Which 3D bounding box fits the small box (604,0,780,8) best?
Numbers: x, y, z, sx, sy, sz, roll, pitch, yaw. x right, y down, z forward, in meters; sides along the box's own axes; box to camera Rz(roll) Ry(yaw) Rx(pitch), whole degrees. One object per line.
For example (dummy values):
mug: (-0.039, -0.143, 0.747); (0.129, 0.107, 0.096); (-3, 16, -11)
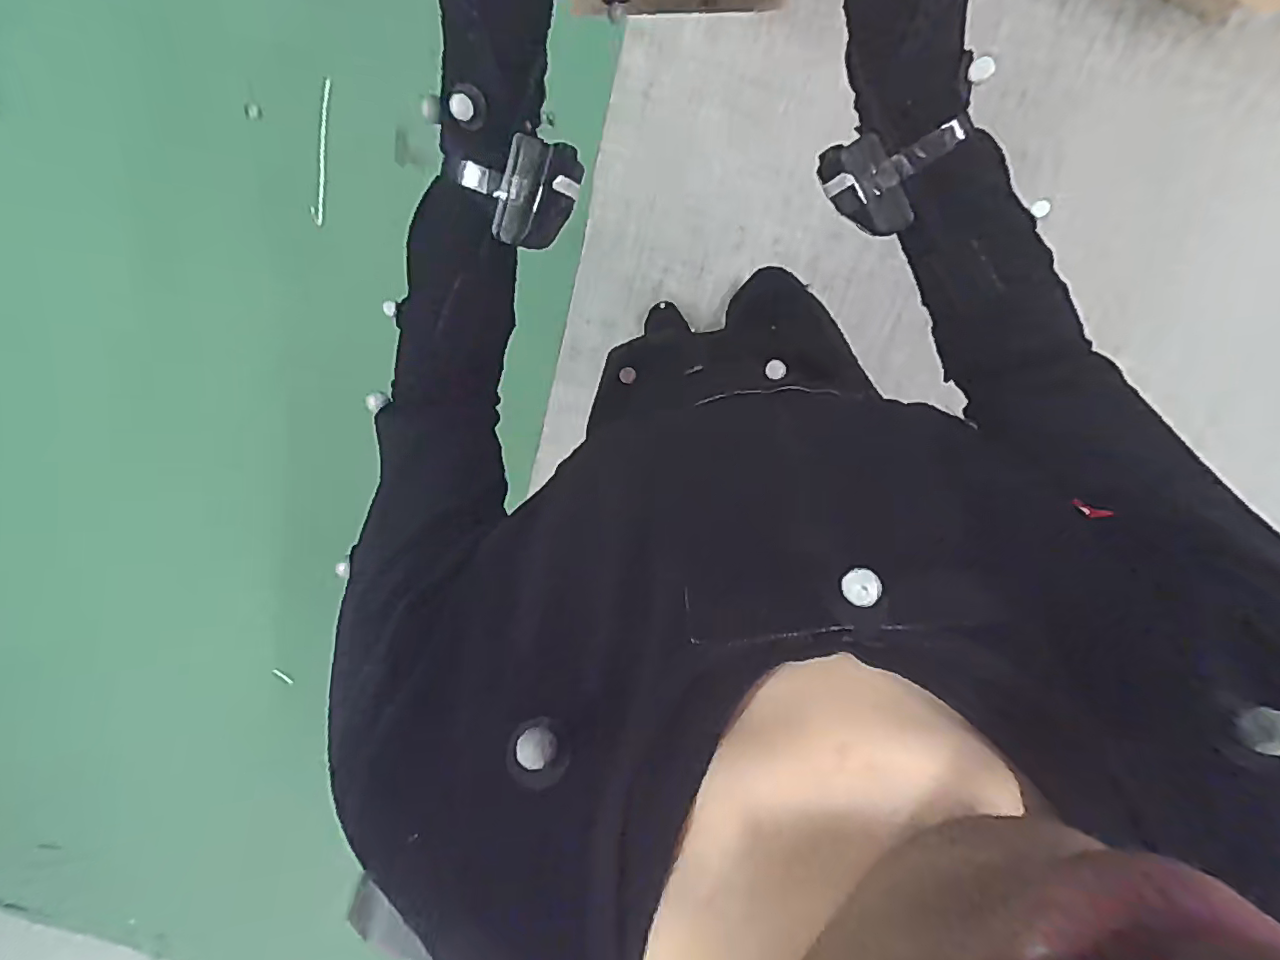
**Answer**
small box: (0.034, -0.421, 0.322); (0.168, 0.176, 0.179); (-2, 110, -1)
